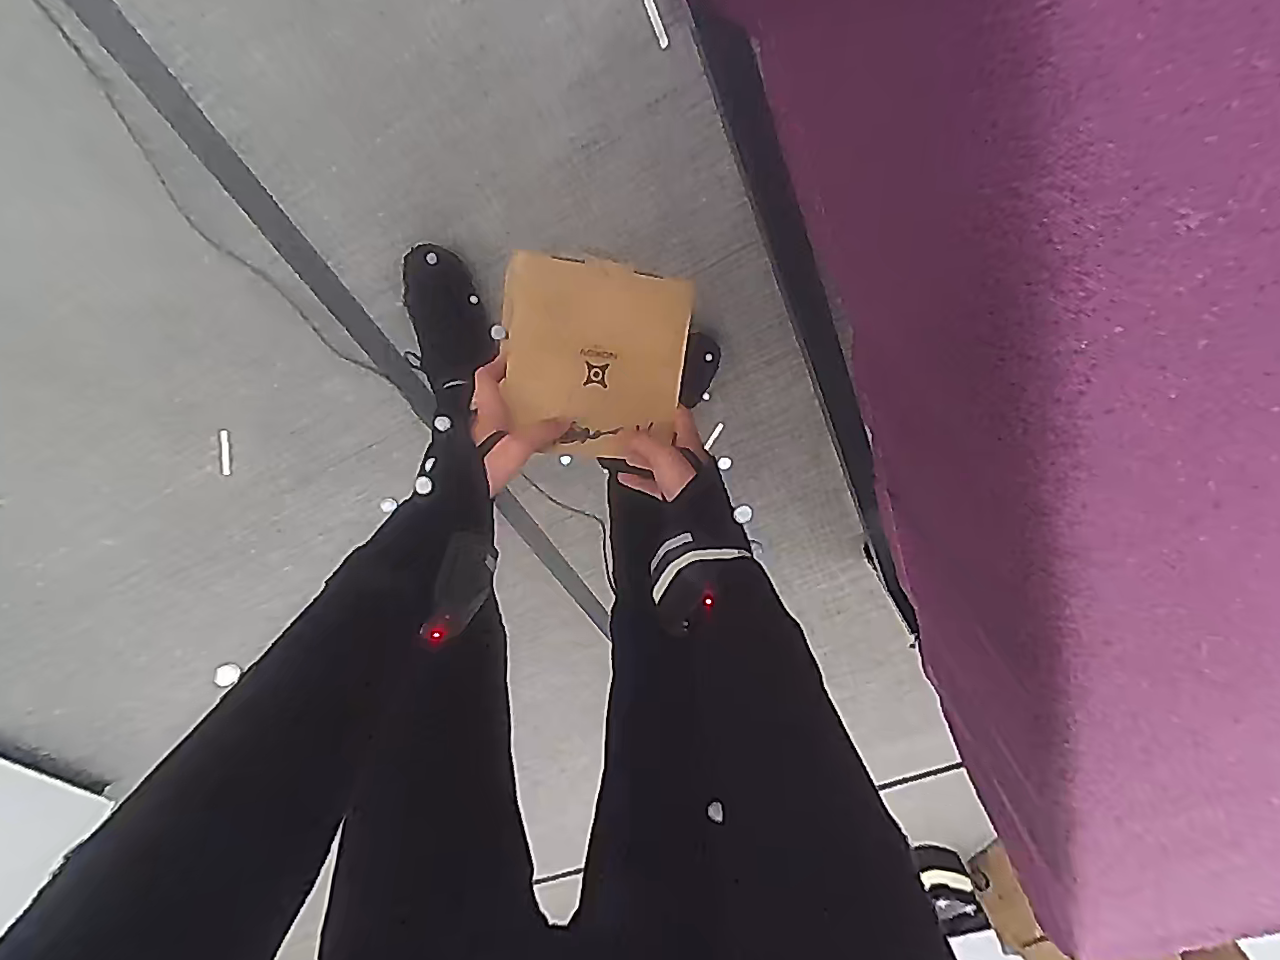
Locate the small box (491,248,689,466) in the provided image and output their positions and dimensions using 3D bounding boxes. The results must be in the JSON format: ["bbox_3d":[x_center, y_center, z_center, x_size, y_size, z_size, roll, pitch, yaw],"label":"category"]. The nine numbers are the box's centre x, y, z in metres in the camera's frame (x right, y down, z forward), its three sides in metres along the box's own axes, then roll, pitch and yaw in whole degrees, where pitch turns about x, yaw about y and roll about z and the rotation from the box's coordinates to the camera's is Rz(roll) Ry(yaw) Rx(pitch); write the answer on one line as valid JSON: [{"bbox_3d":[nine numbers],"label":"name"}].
[{"bbox_3d":[-0.064,-0.123,0.560,0.168,0.176,0.179,4,104,-16],"label":"small box"}]
